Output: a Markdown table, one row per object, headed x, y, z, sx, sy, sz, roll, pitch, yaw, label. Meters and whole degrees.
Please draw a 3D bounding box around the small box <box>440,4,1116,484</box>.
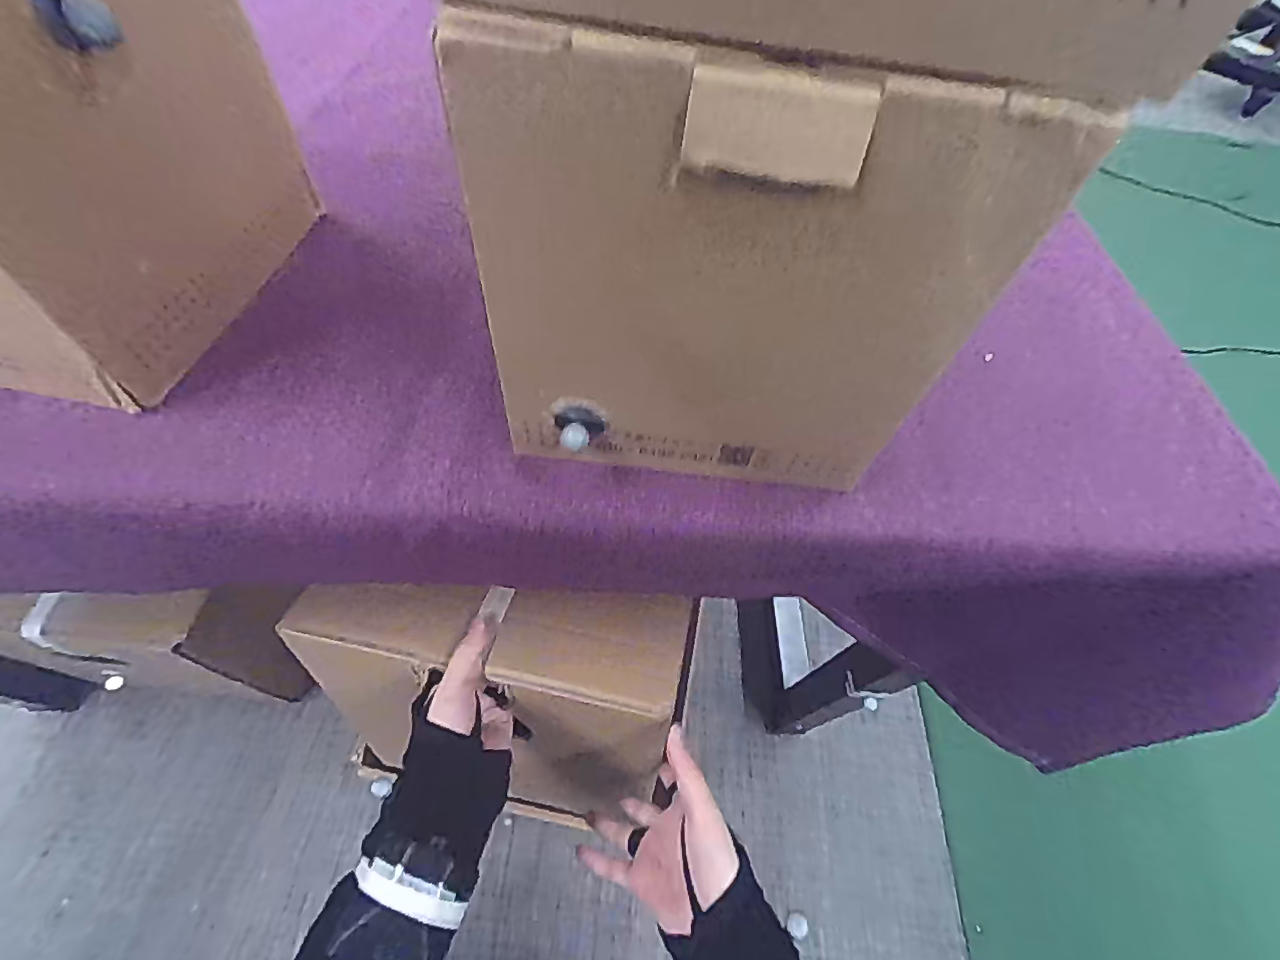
| x | y | z | sx | sy | sz | roll | pitch | yaw | label |
| --- | --- | --- | --- | --- | --- | --- | --- | --- | --- |
| 0.034 | -0.116 | 0.239 | 0.168 | 0.176 | 0.179 | 7 | 56 | -1 | small box |
